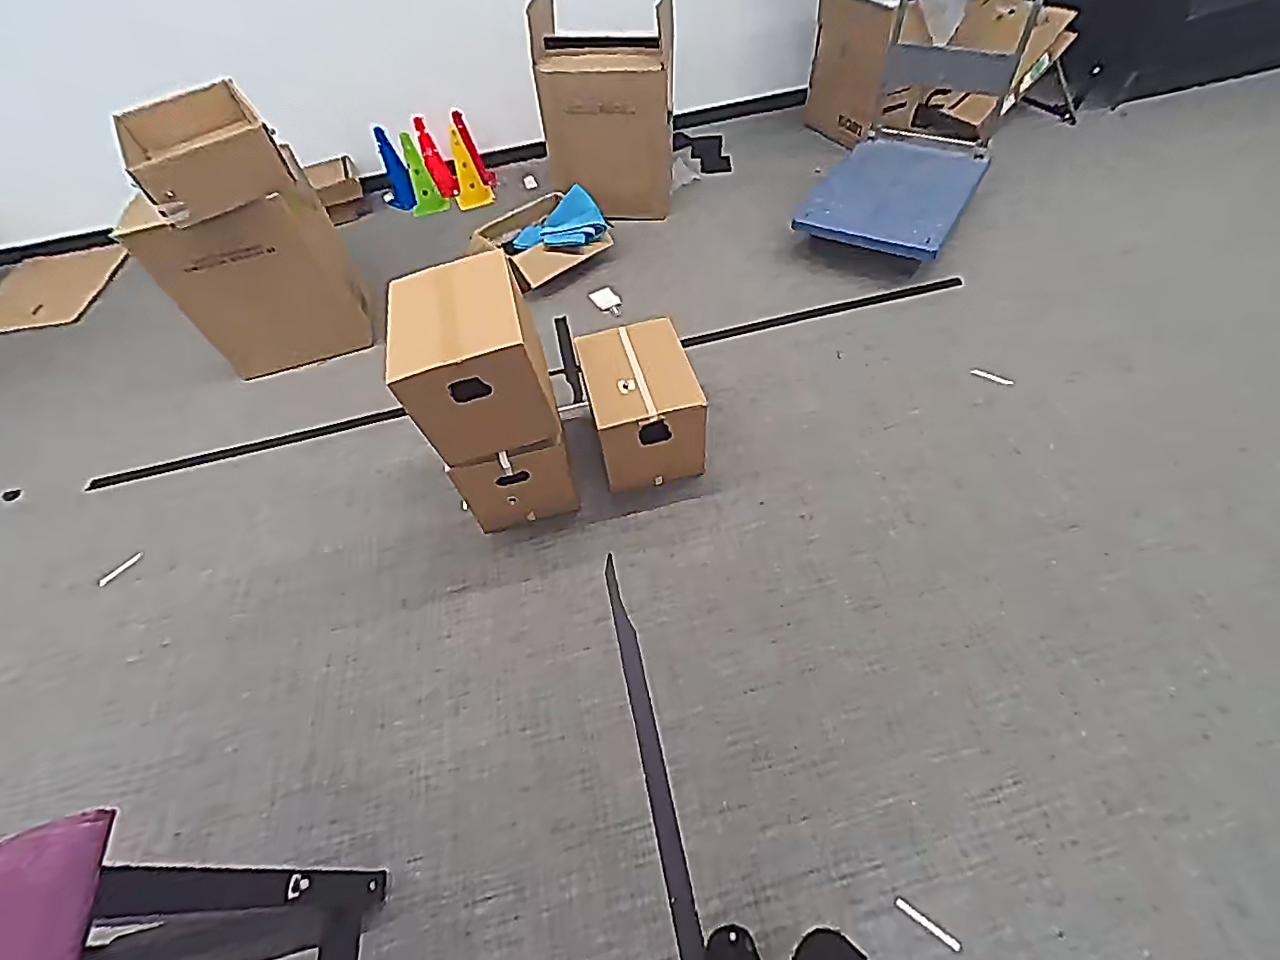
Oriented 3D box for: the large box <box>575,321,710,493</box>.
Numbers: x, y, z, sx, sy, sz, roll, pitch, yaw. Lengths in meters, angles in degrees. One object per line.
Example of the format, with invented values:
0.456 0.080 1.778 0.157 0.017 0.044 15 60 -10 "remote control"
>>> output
0.006 -0.231 1.700 0.320 0.320 0.408 -15 54 -4 "large box"
